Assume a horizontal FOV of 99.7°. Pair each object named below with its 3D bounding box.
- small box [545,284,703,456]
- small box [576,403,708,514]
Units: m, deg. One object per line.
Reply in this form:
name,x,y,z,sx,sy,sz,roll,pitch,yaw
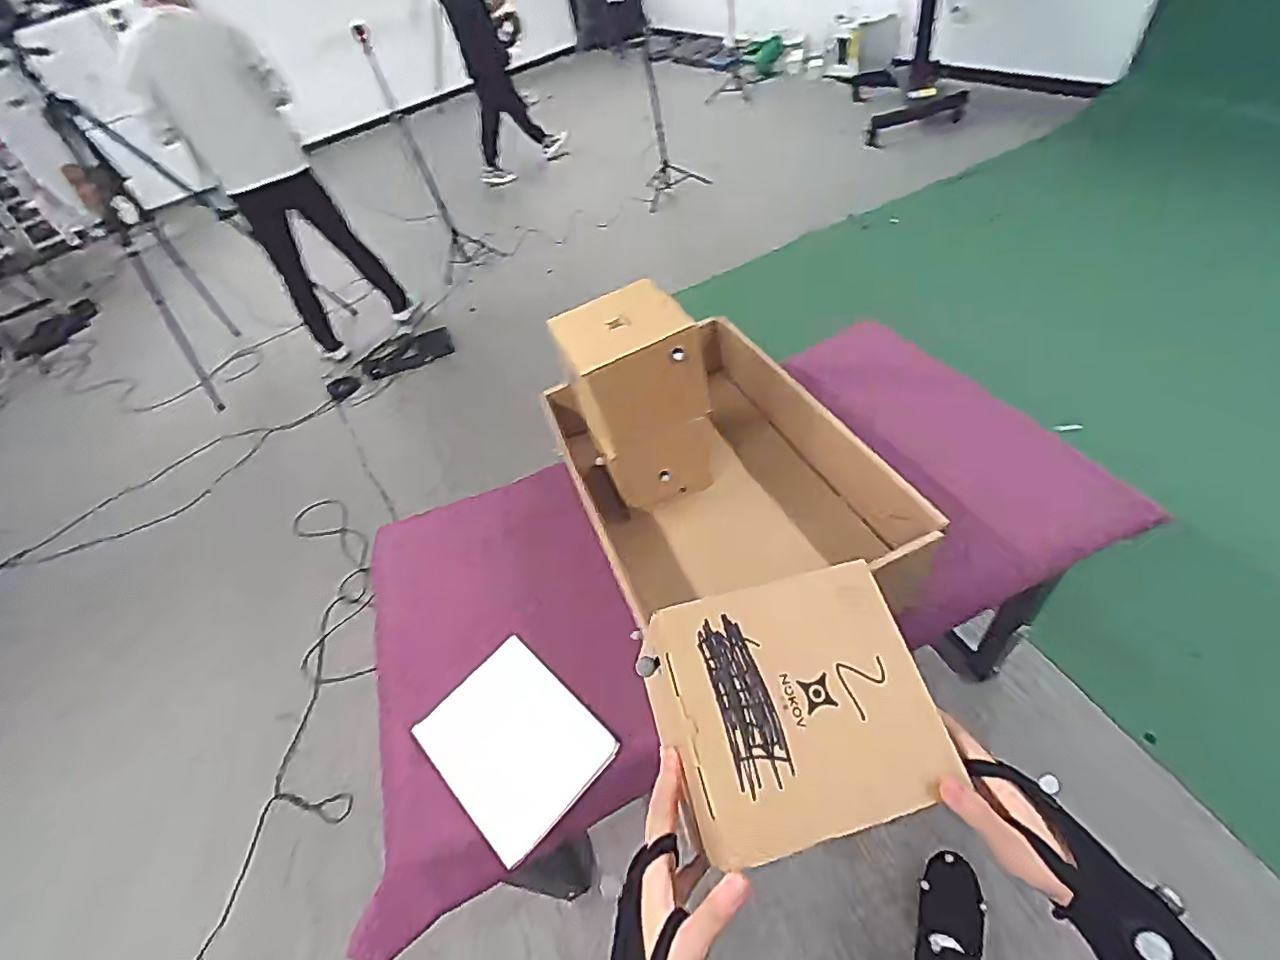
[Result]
small box,-0.020,-0.167,0.838,0.179,0.176,0.168,-26,48,-8
small box,0.008,-0.062,0.958,0.168,0.176,0.179,-24,48,-6
